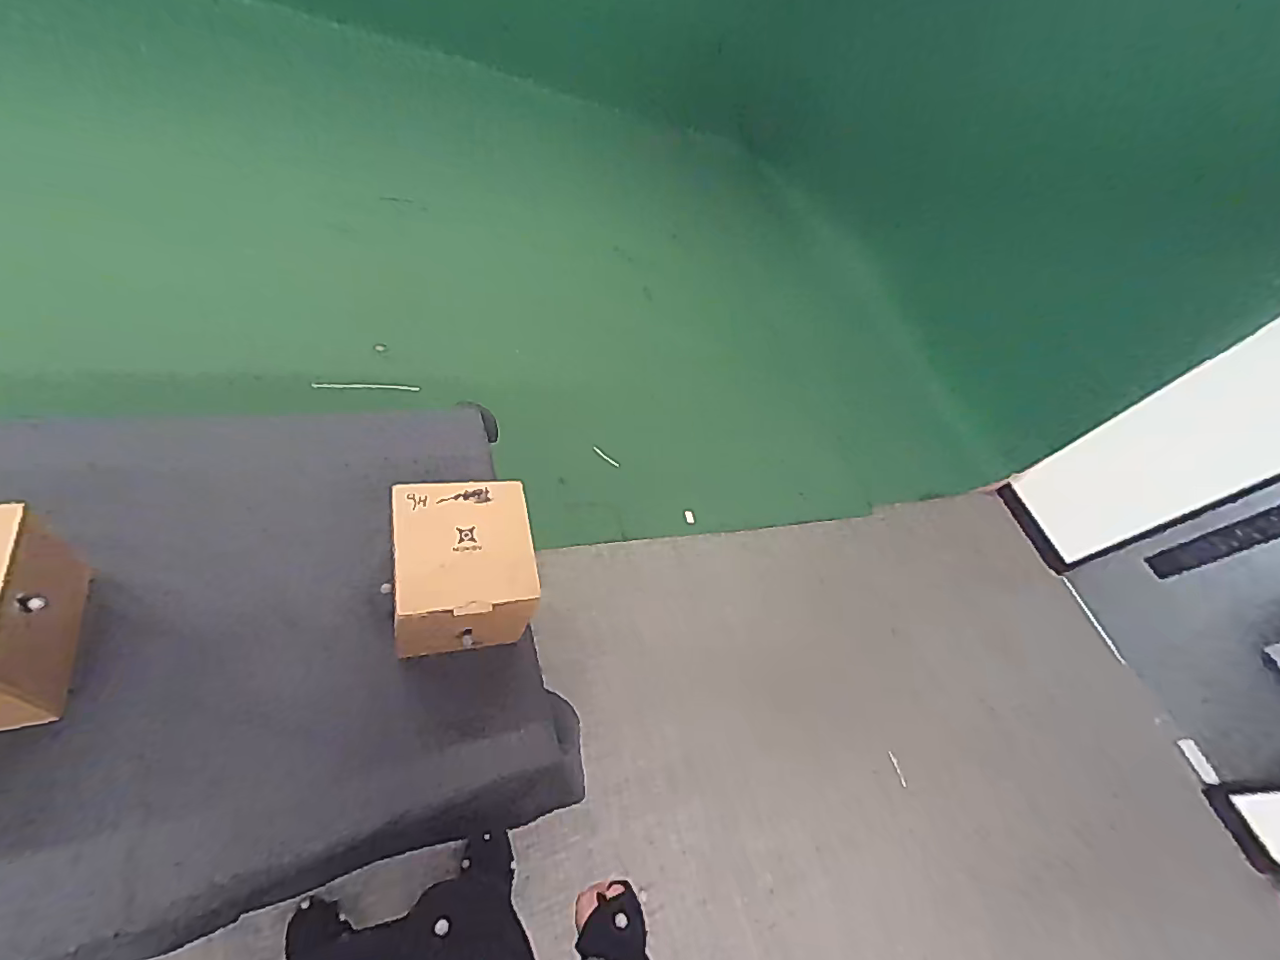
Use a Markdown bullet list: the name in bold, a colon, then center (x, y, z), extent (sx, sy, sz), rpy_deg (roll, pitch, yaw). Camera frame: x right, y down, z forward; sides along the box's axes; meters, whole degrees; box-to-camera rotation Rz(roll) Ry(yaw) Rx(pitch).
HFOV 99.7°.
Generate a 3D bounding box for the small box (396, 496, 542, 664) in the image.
- **small box**: center (-0.241, 0.140, 0.739), extent (0.168, 0.176, 0.179), rpy_deg (-2, 58, -25)
